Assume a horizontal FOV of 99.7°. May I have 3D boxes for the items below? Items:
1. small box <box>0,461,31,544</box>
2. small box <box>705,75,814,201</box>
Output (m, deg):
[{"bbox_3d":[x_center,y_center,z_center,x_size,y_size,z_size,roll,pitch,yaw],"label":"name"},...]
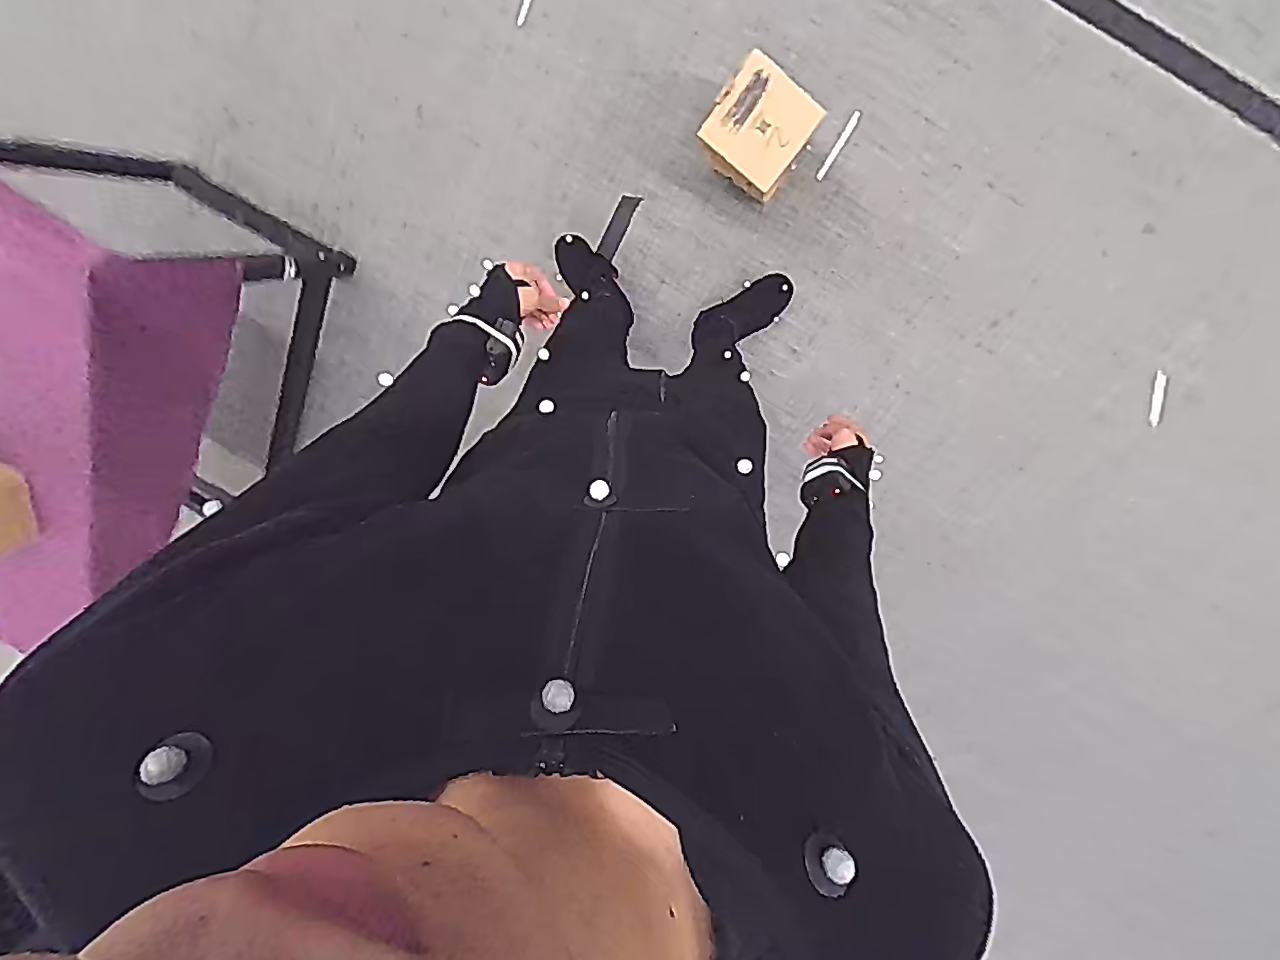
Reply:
[{"bbox_3d":[-1.450,0.053,1.133,0.168,0.176,0.179,20,116,2],"label":"small box"},{"bbox_3d":[0.270,-0.760,1.227,0.168,0.176,0.179,34,116,-4],"label":"small box"}]
